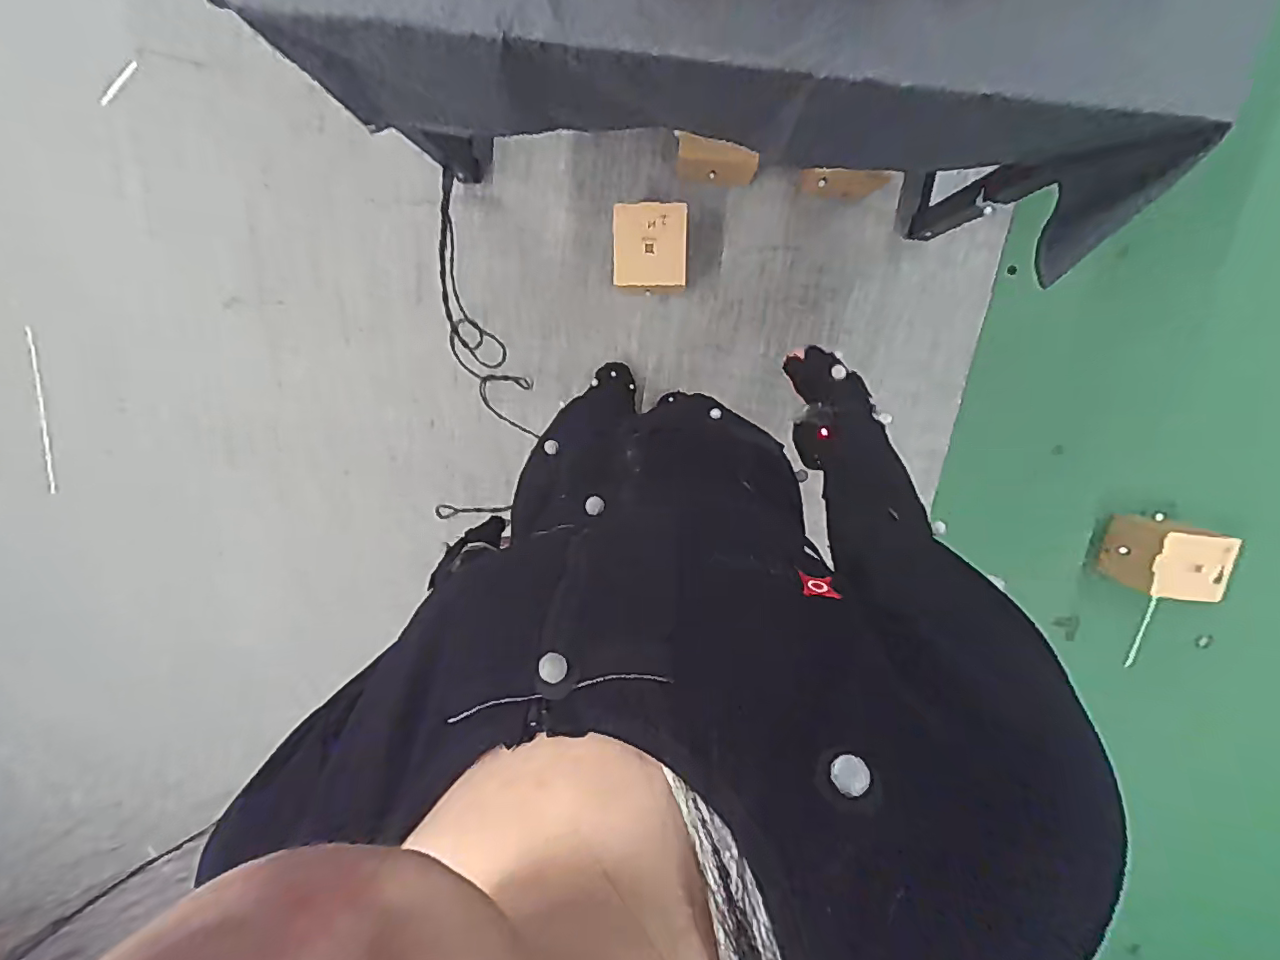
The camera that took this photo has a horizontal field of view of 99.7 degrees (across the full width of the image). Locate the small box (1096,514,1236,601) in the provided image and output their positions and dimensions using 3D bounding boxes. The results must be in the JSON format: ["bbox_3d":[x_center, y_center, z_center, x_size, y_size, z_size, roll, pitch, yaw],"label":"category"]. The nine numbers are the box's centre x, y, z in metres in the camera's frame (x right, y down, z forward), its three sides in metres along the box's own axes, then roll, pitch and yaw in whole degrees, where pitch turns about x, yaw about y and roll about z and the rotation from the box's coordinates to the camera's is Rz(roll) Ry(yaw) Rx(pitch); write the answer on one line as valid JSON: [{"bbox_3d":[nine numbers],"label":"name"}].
[{"bbox_3d":[1.336,0.192,1.390,0.179,0.176,0.168,7,103,2],"label":"small box"}]

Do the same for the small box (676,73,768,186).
[{"bbox_3d":[0.178,-0.778,1.218,0.179,0.176,0.168,6,103,3],"label":"small box"}]
